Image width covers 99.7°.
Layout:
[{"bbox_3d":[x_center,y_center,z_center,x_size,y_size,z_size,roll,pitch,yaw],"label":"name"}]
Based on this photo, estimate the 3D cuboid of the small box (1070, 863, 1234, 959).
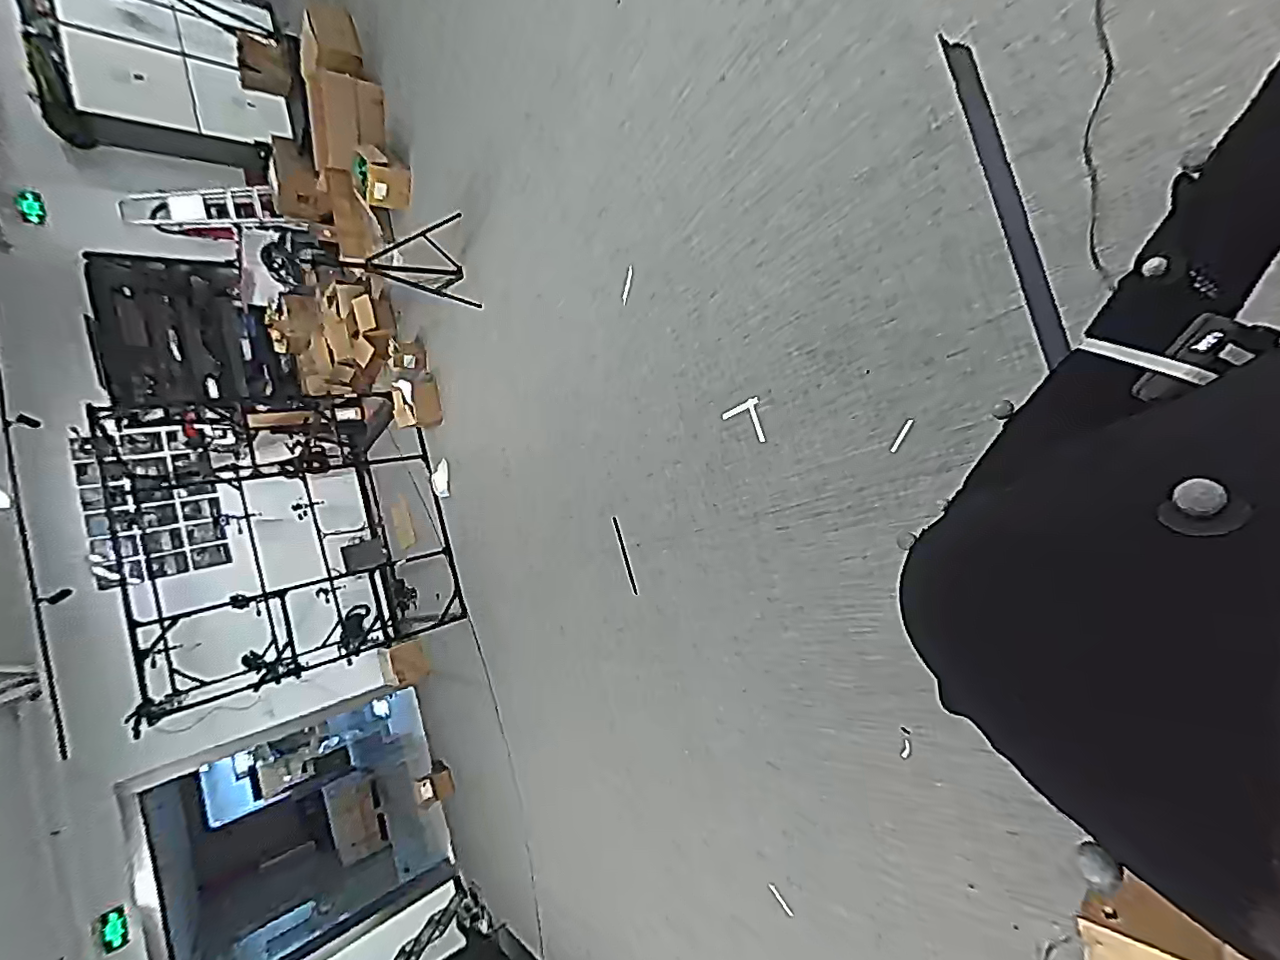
[{"bbox_3d":[0.858,0.790,0.899,0.179,0.176,0.168,-12,91,53],"label":"small box"}]
